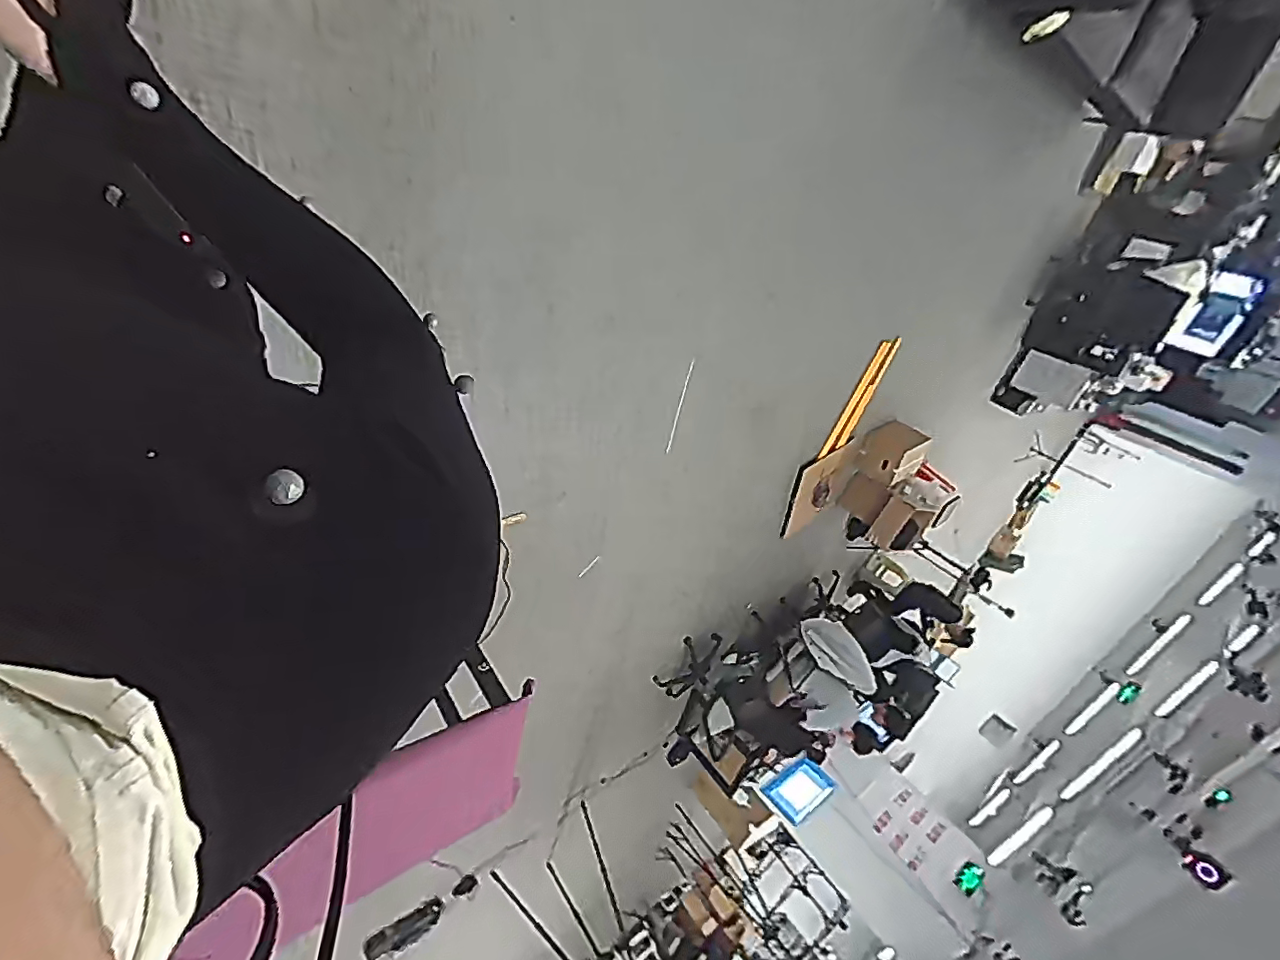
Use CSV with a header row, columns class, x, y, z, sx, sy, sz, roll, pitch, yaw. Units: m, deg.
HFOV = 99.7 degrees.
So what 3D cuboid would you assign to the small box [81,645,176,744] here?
class,x,y,z,sx,sy,sz,roll,pitch,yaw
small box,-1.458,0.603,1.542,0.179,0.176,0.168,-10,128,-41
